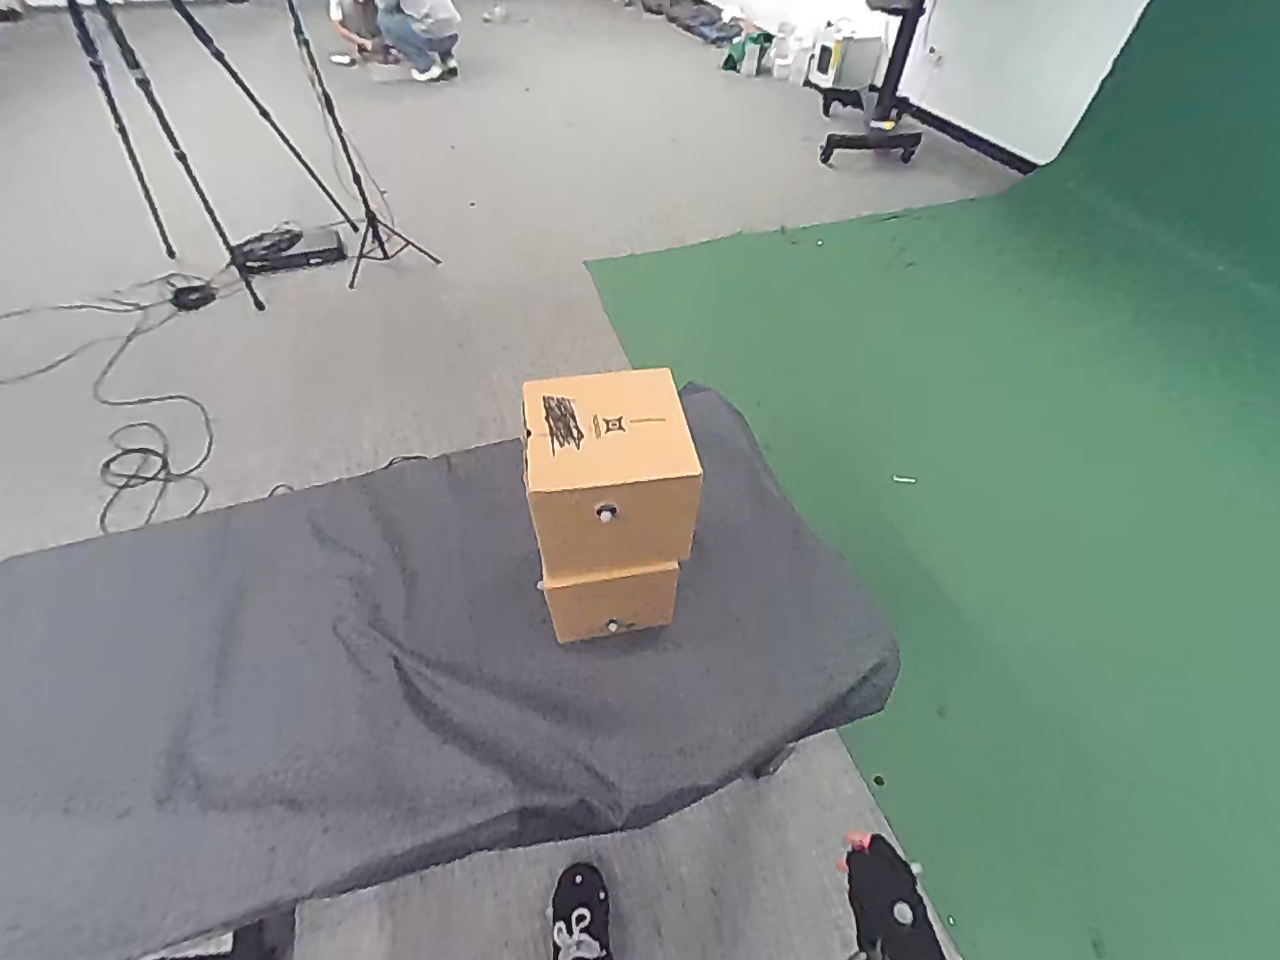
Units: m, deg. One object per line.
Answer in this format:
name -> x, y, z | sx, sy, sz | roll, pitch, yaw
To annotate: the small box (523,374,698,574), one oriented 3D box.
small box -> -0.038, -0.003, 0.647 | 0.179, 0.176, 0.168 | -7, 52, -7
